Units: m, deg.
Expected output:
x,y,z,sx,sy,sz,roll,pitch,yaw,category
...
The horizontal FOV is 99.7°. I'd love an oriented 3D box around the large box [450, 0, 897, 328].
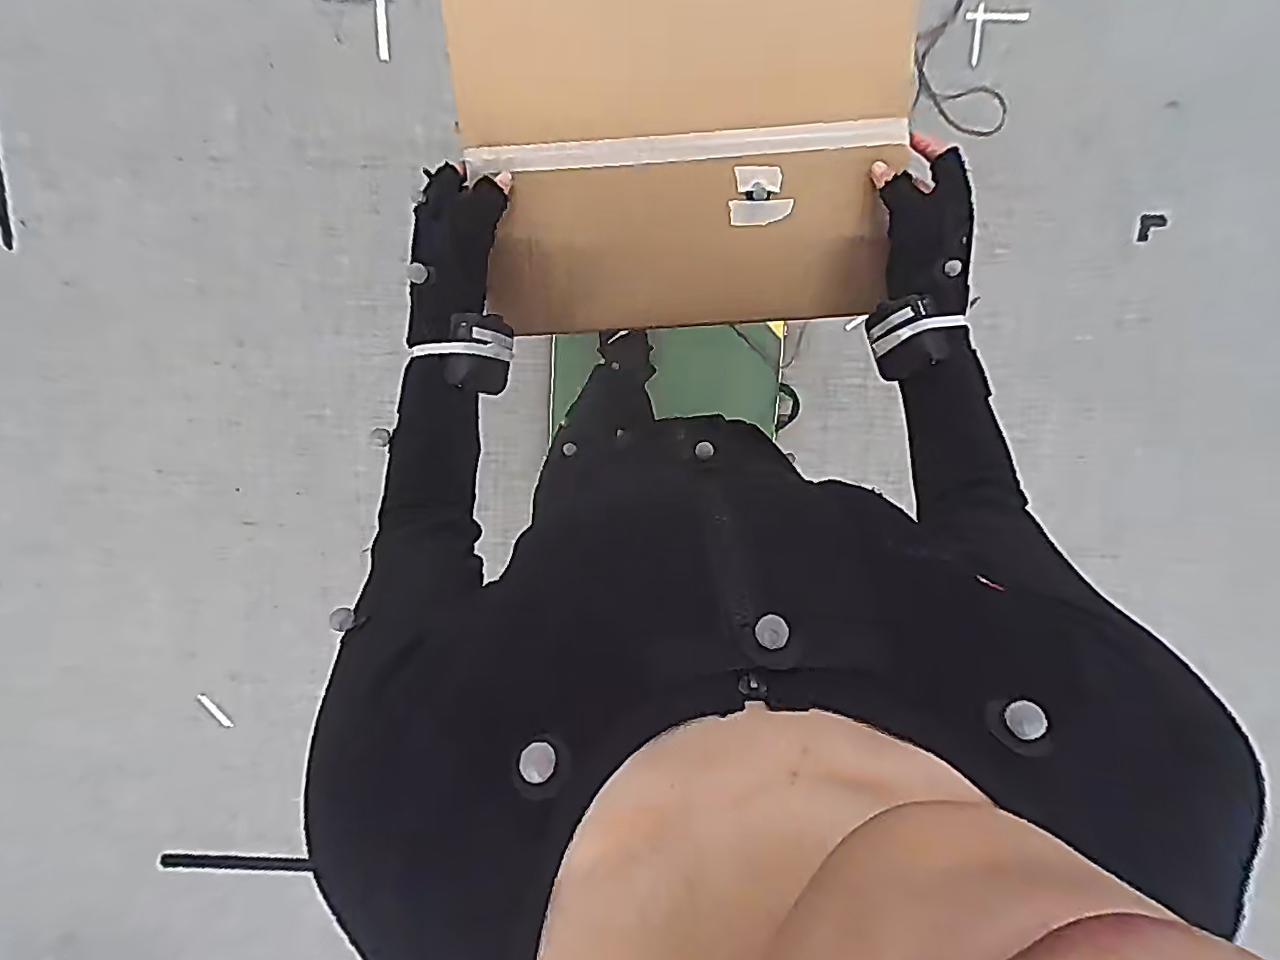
x,y,z,sx,sy,sz,roll,pitch,yaw,category
0.036,-0.361,0.653,0.408,0.320,0.320,-4,107,0,large box
